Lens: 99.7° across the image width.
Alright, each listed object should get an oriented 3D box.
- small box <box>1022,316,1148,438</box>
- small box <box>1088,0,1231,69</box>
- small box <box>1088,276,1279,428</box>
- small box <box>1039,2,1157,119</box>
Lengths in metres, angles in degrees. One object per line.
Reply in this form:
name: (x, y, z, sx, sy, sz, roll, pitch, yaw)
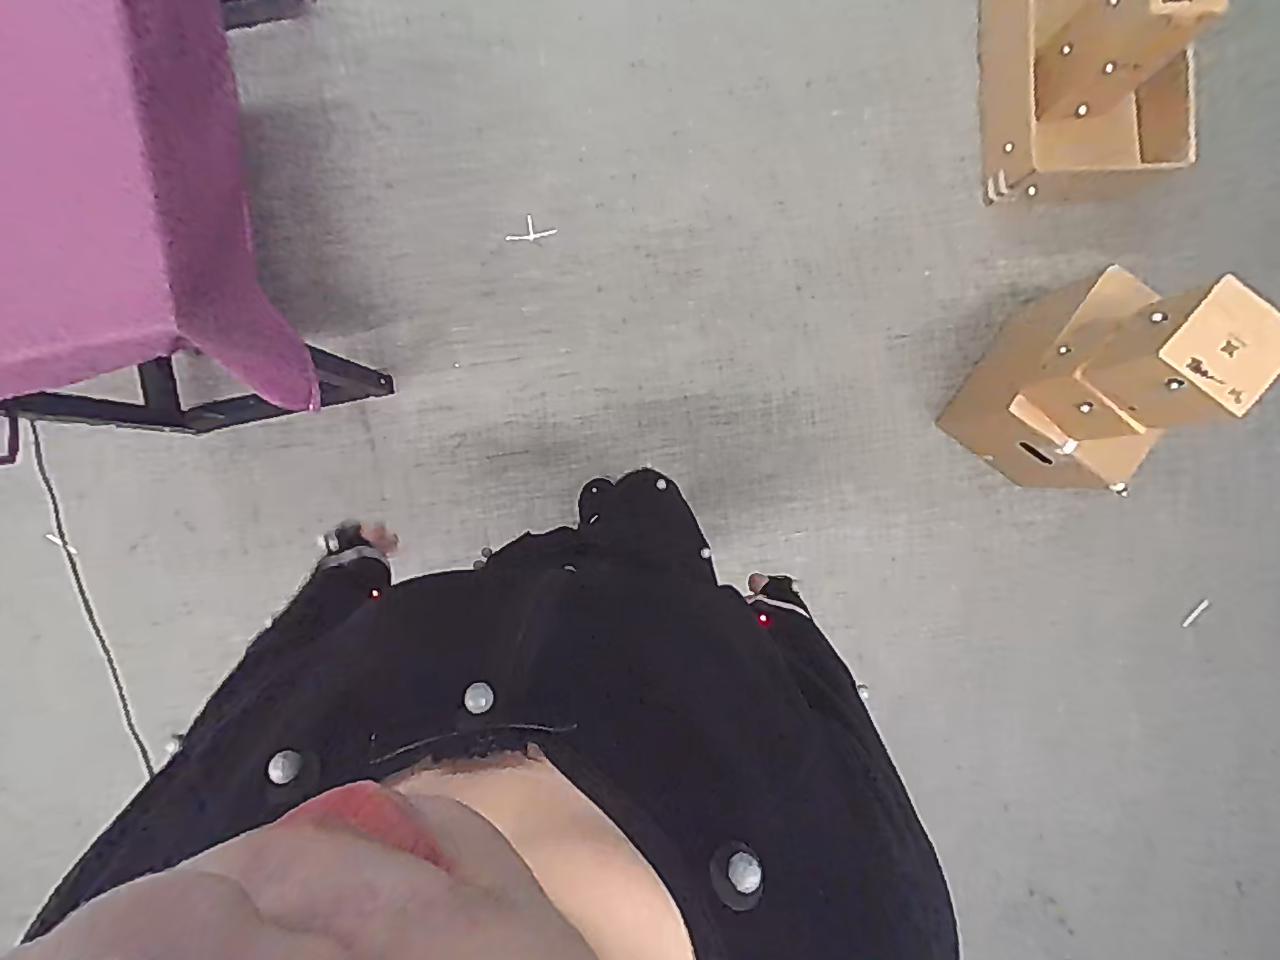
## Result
small box: (0.955, -0.200, 1.114, 0.179, 0.176, 0.168, 44, 91, 3)
small box: (1.144, -1.056, 1.202, 0.168, 0.176, 0.179, -1, 89, 0)
small box: (0.957, -0.212, 0.950, 0.168, 0.176, 0.179, 40, 90, 3)
small box: (1.147, -1.055, 1.366, 0.168, 0.176, 0.179, -2, 90, 1)
